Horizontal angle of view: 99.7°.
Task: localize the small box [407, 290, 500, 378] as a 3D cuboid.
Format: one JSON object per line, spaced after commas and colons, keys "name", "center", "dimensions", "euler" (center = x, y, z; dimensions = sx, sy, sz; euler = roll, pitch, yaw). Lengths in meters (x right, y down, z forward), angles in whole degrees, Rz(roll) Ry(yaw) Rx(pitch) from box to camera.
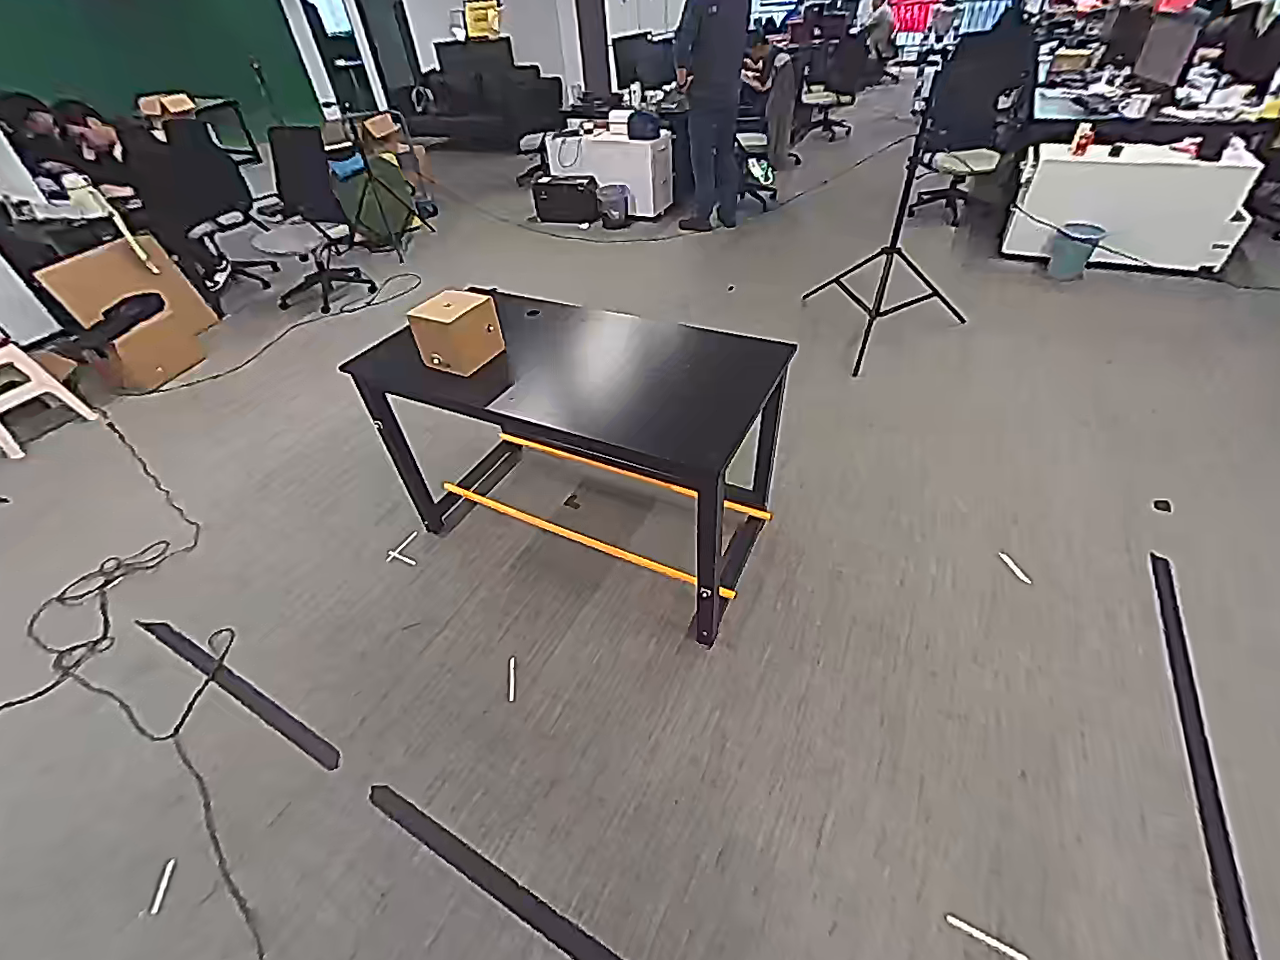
{"name": "small box", "center": [-0.520, -0.417, 1.541], "dimensions": [0.168, 0.176, 0.179], "euler": [16, 47, 23]}
